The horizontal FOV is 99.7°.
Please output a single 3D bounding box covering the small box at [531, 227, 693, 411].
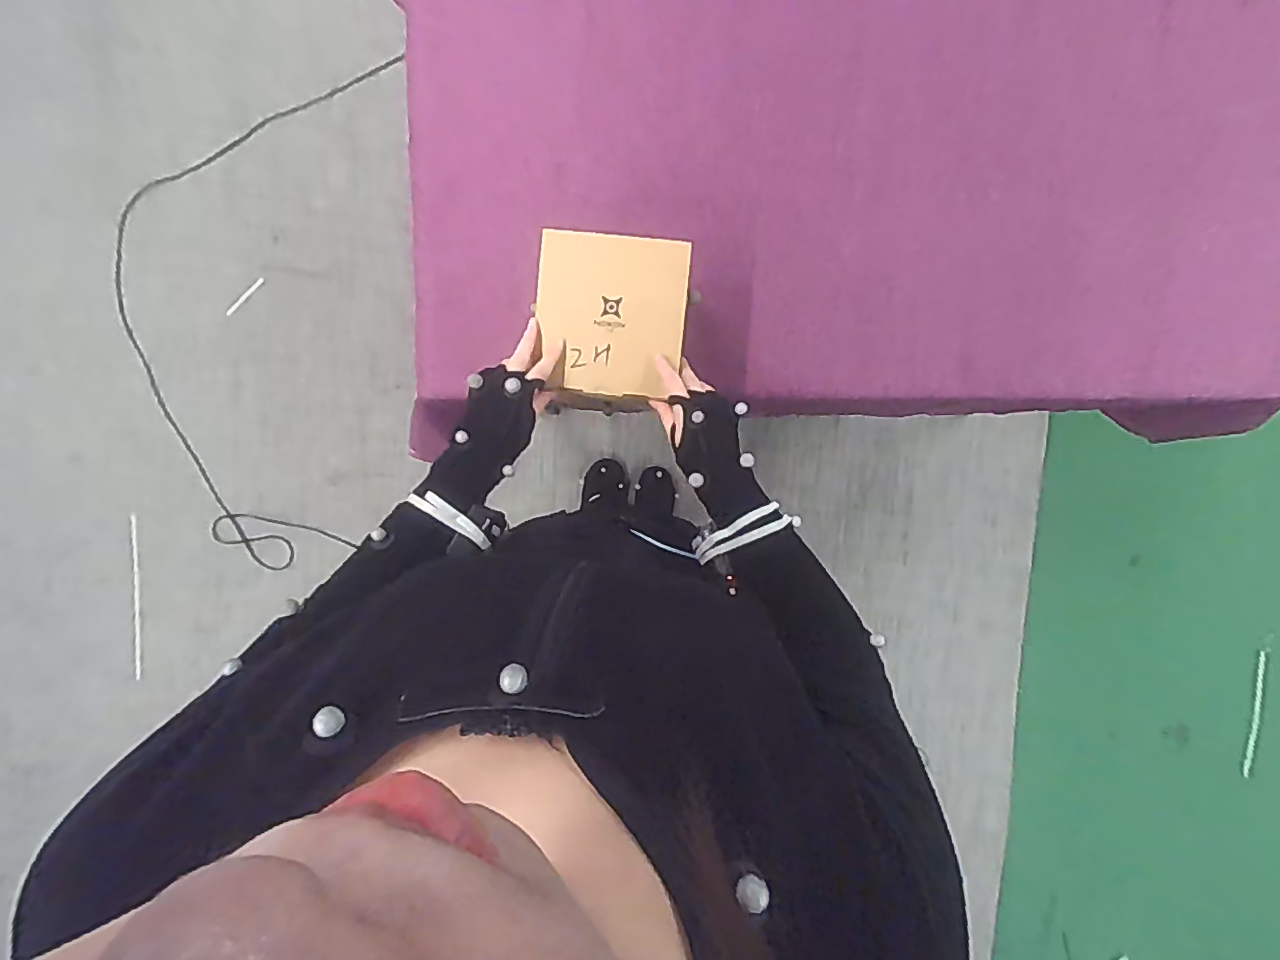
[{"bbox_3d":[-0.031,-0.186,0.672,0.168,0.176,0.179,5,93,1],"label":"small box"}]
